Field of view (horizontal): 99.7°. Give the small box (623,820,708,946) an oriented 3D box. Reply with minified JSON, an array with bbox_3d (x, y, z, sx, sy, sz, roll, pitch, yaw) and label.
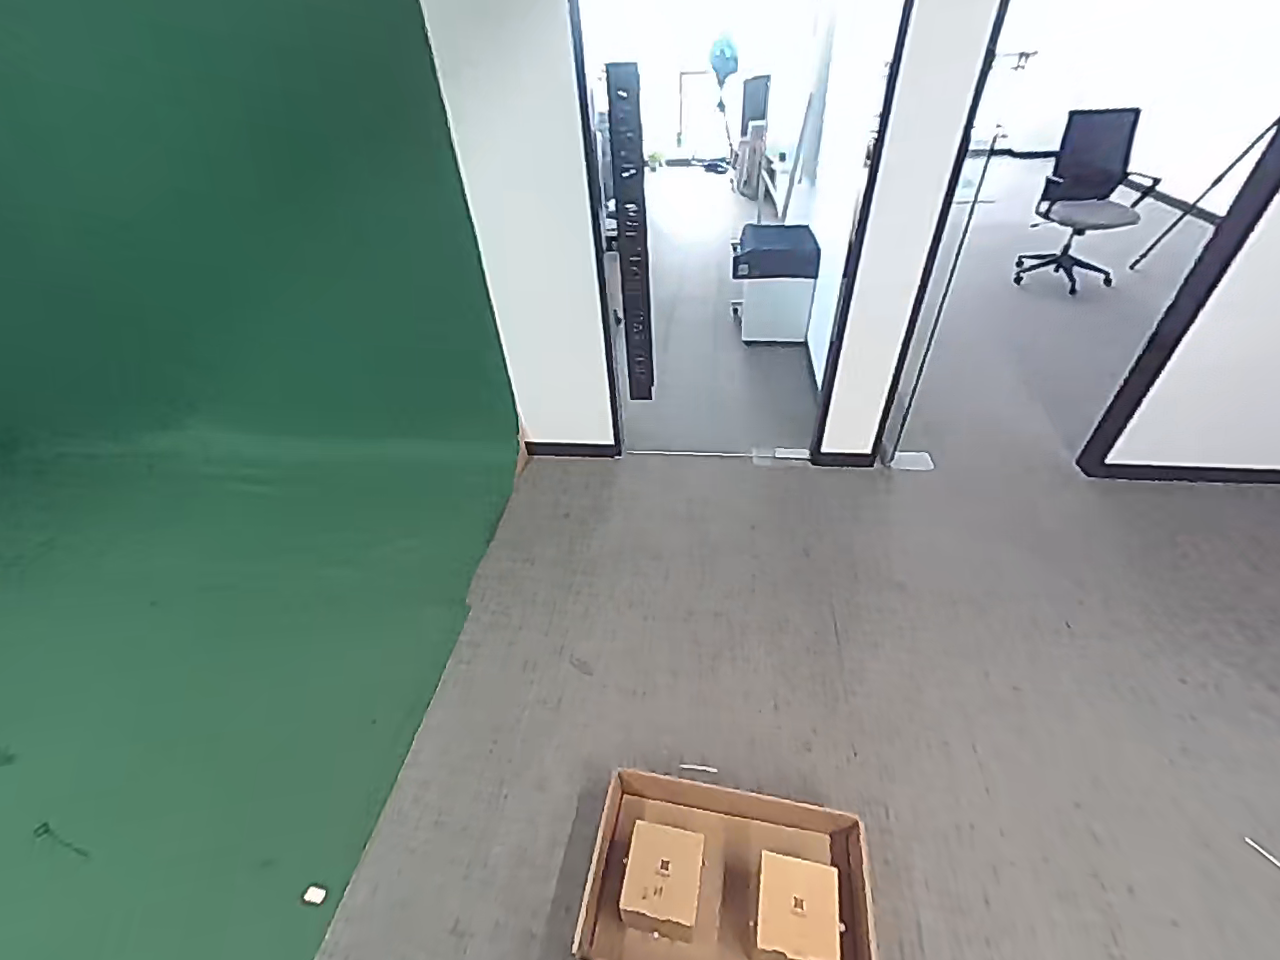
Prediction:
[{"bbox_3d":[0.062,0.929,1.248,0.168,0.176,0.179,6,40,11],"label":"small box"}]
